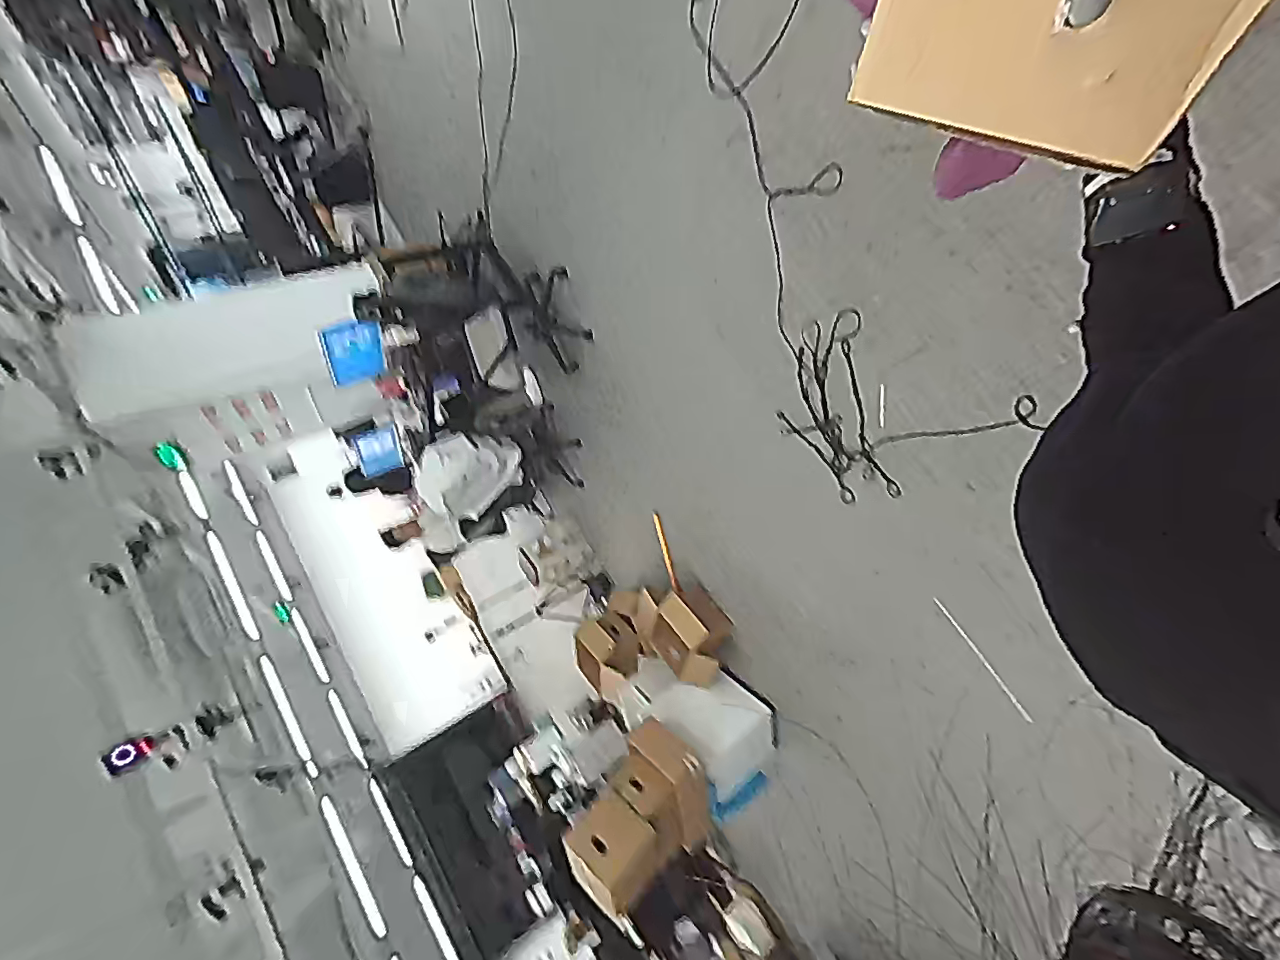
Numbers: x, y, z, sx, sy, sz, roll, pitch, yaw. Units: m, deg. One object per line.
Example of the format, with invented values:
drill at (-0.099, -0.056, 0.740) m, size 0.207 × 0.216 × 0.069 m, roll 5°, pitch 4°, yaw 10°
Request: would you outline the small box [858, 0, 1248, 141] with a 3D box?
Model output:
small box at (0.249, -0.326, 0.294) m, size 0.179 × 0.168 × 0.176 m, roll 23°, pitch 149°, yaw 15°
